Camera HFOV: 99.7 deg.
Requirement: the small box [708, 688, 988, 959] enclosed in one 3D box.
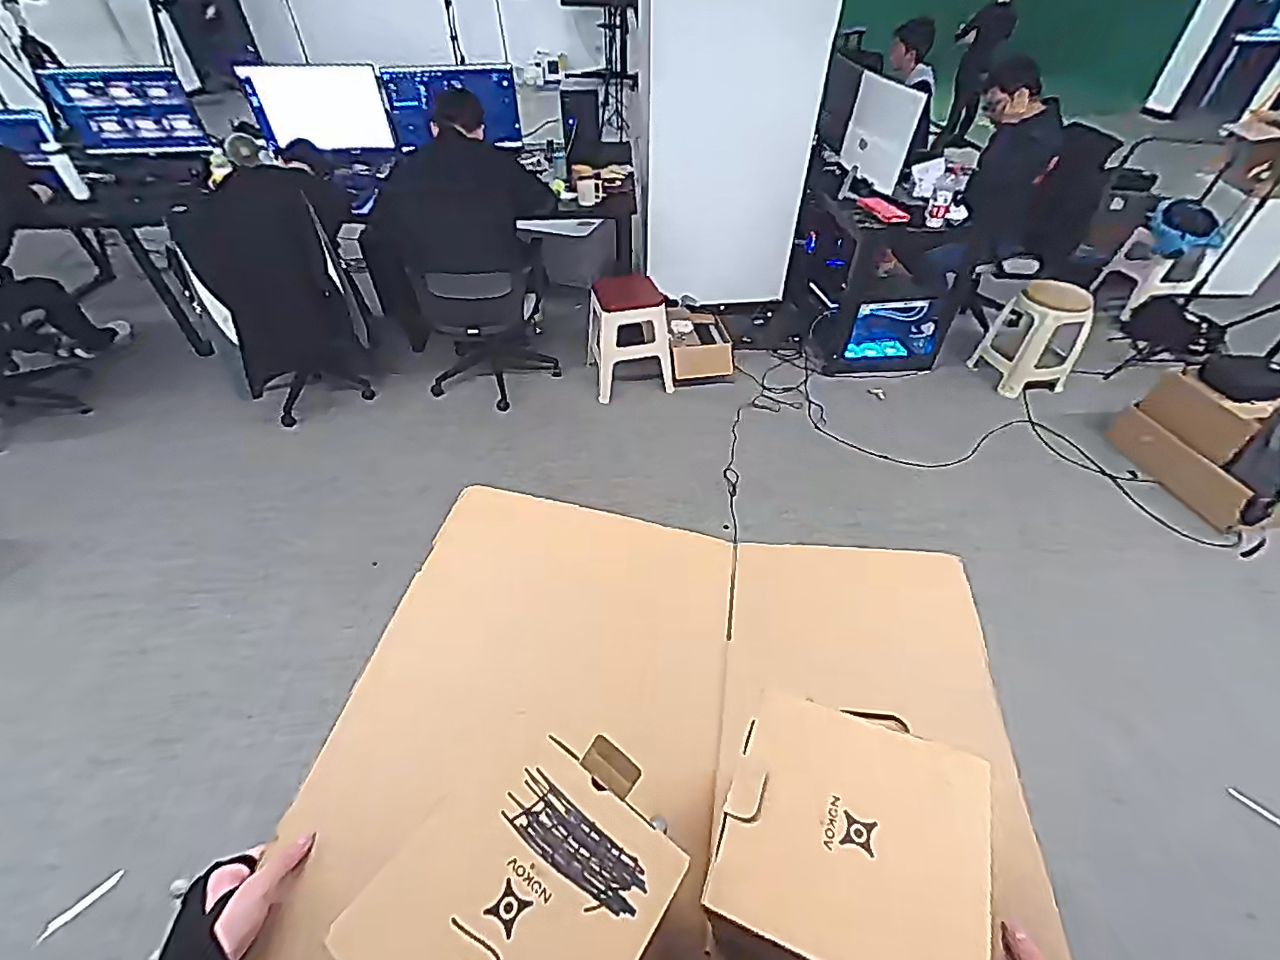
[{"bbox_3d":[0.171,0.311,0.457,0.179,0.176,0.168,10,49,23],"label":"small box"}]
